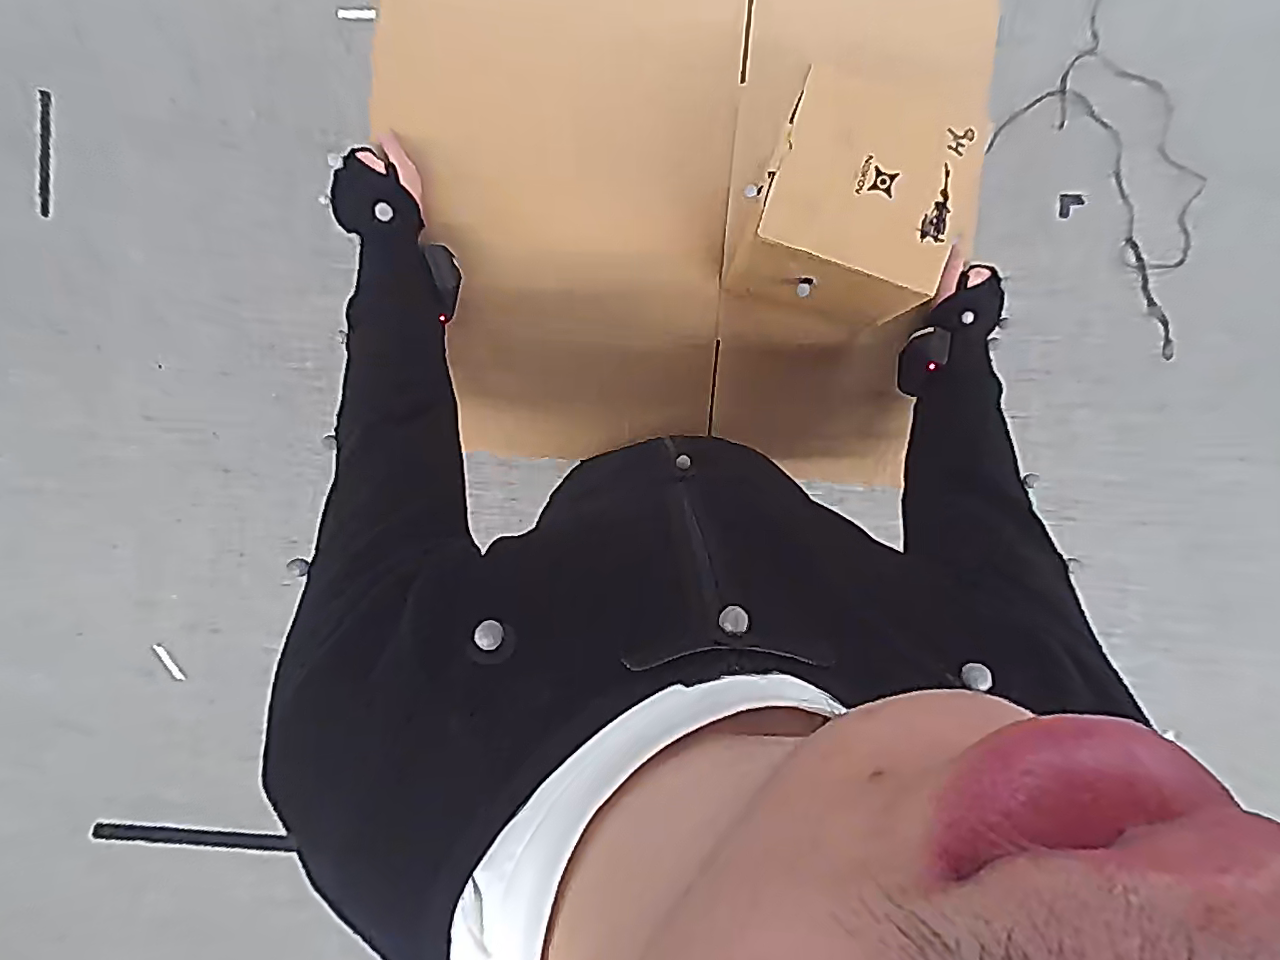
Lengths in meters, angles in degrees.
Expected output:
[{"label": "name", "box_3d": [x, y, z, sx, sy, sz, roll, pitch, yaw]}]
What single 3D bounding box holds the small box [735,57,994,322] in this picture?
[{"label": "small box", "box_3d": [0.213, -0.283, 0.569, 0.179, 0.176, 0.168, 18, 94, 0]}]
